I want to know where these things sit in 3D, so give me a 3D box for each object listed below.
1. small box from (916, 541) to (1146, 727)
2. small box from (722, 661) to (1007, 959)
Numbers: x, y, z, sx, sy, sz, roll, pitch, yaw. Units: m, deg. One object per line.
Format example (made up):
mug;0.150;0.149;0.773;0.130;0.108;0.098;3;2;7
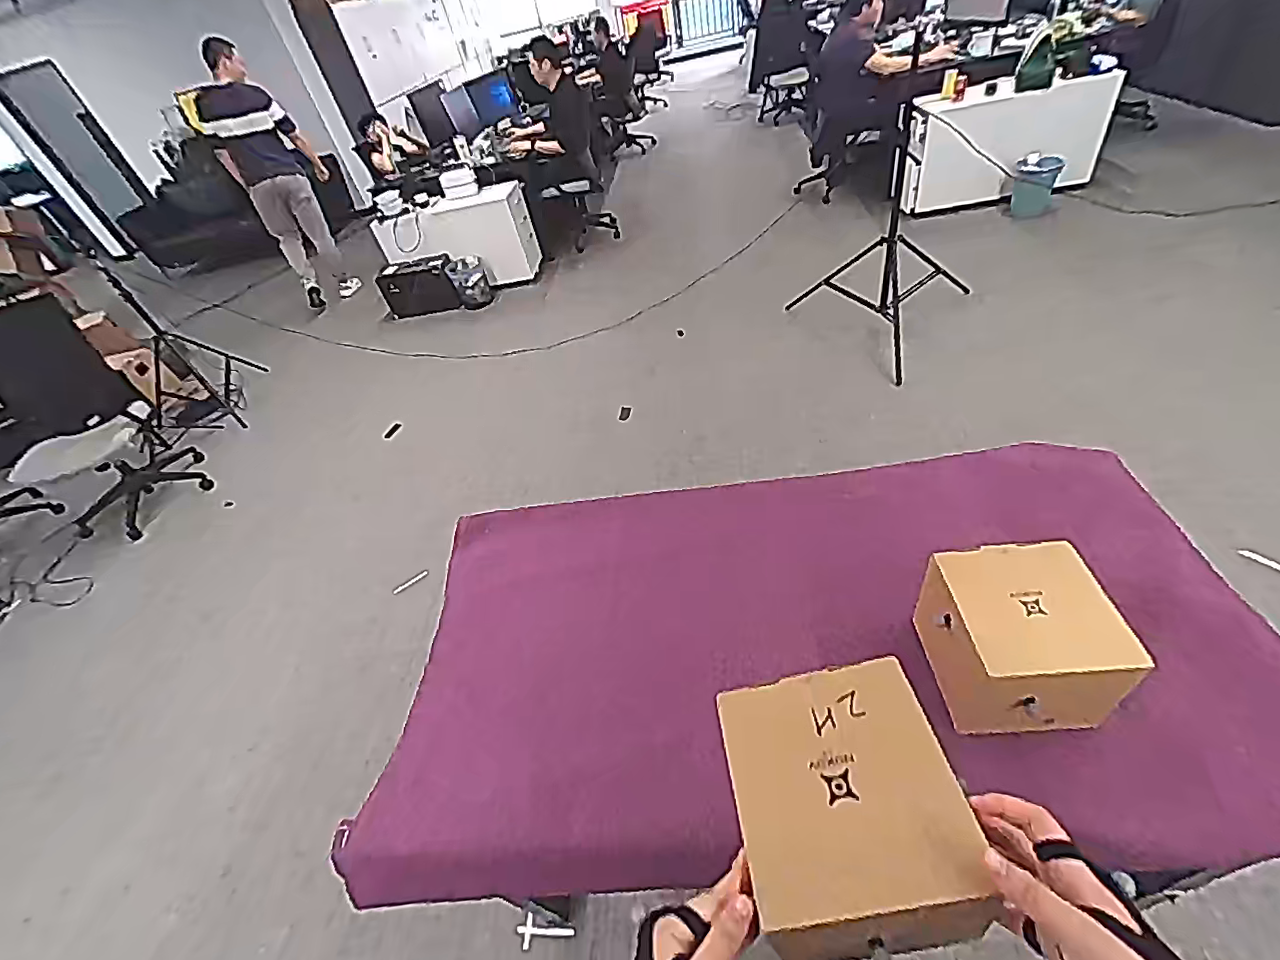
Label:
small box;0.479;0.205;0.700;0.168;0.176;0.179;-7;43;9
small box;0.180;0.294;0.474;0.168;0.176;0.179;-14;38;7
